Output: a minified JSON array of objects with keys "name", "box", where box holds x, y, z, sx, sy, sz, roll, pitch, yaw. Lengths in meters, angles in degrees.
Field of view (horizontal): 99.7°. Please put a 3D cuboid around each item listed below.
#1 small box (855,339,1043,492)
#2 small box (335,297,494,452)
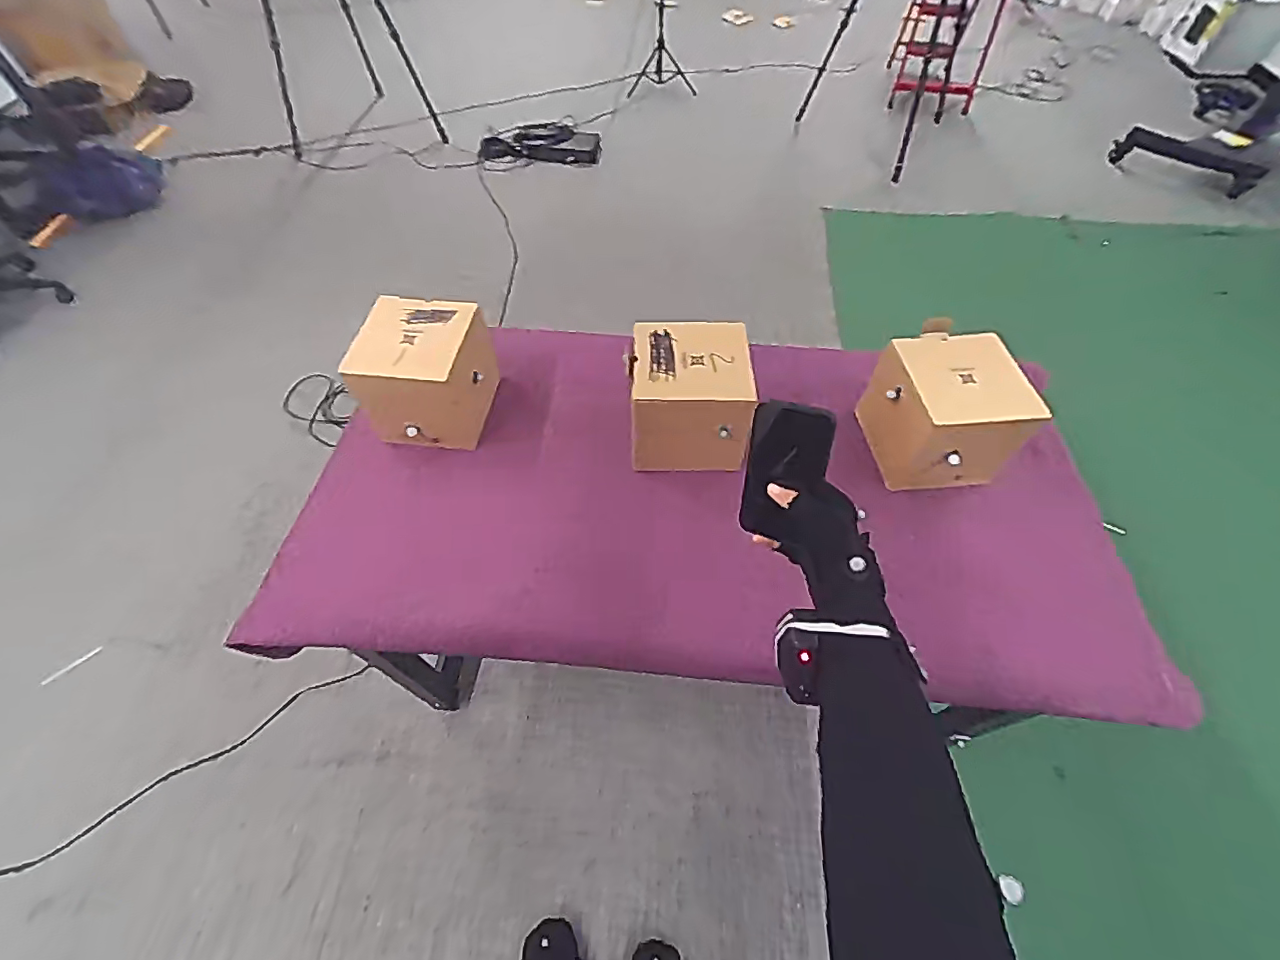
[{"name":"small box","box":[0.461,-0.093,0.839,0.168,0.176,0.179,-4,54,-3]},{"name":"small box","box":[-0.349,-0.170,0.882,0.168,0.176,0.179,6,57,3]}]
